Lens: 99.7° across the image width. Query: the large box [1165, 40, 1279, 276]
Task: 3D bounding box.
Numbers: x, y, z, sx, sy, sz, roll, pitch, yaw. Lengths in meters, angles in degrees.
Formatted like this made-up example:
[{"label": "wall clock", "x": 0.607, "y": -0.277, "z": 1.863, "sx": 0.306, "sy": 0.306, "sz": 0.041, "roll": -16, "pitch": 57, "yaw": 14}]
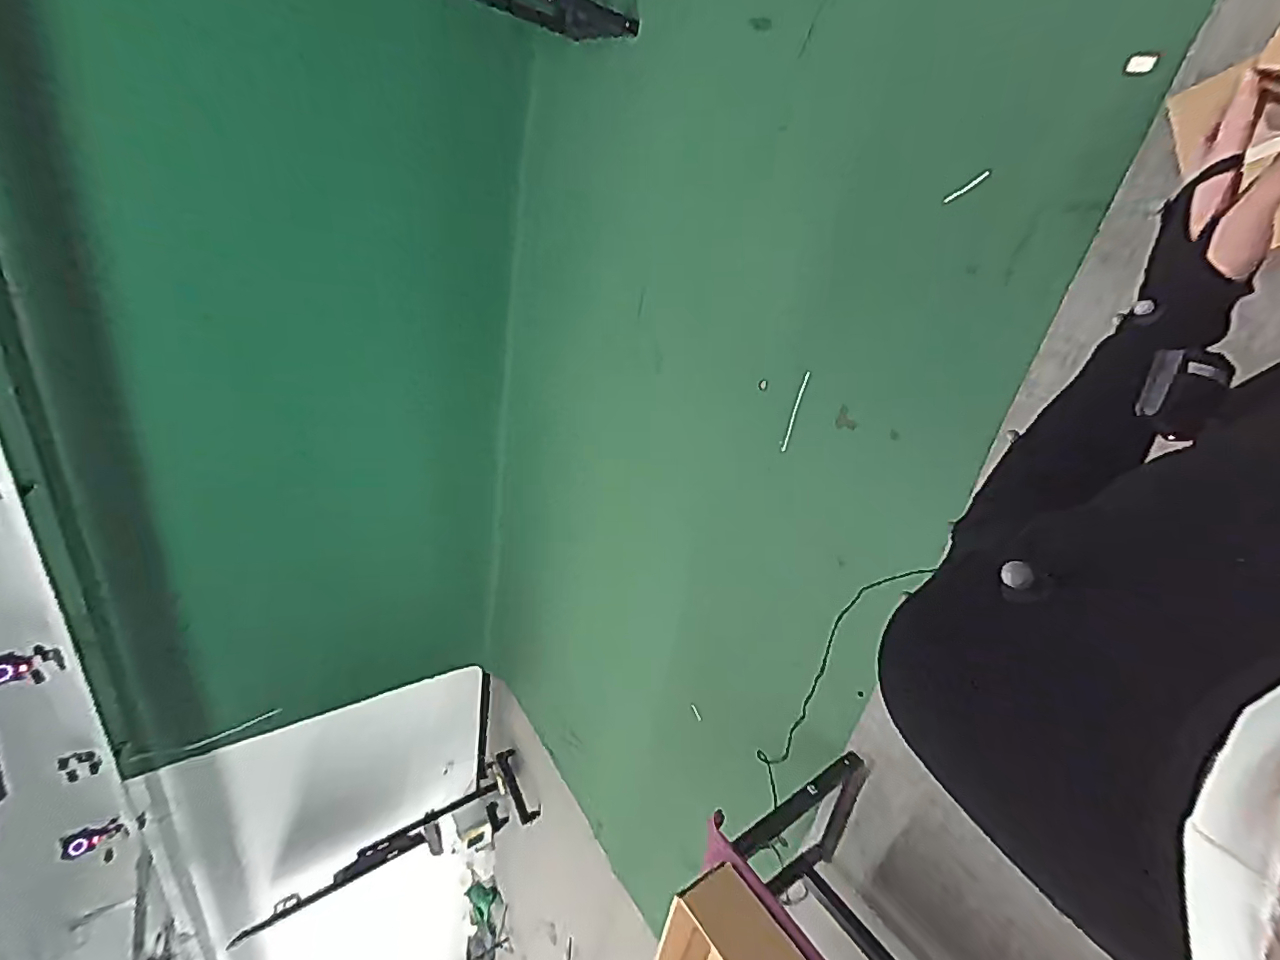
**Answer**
[{"label": "large box", "x": 1.189, "y": -0.572, "z": 0.877, "sx": 0.408, "sy": 0.320, "sz": 0.320, "roll": -13, "pitch": 87, "yaw": 55}]
